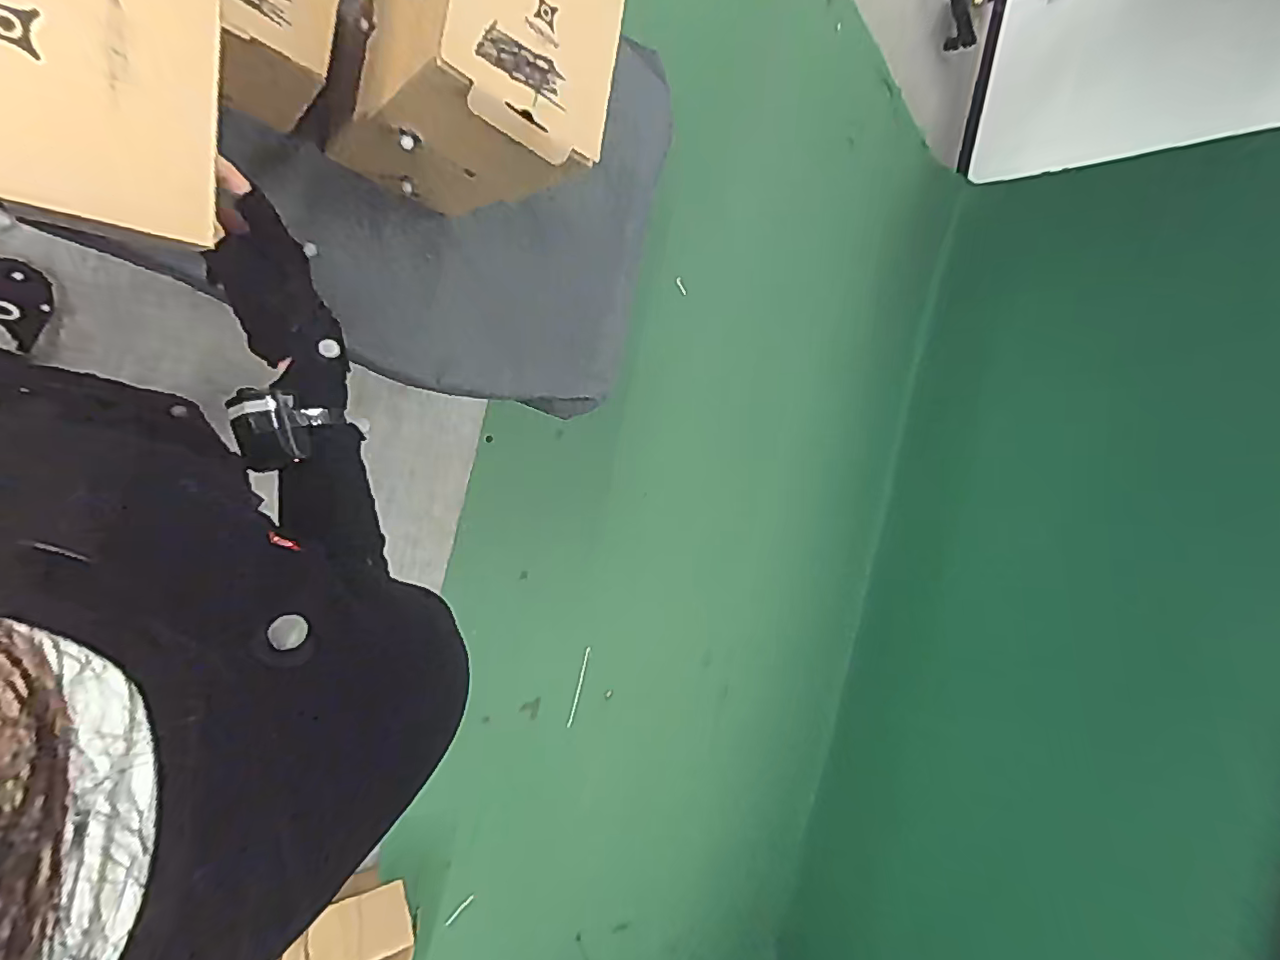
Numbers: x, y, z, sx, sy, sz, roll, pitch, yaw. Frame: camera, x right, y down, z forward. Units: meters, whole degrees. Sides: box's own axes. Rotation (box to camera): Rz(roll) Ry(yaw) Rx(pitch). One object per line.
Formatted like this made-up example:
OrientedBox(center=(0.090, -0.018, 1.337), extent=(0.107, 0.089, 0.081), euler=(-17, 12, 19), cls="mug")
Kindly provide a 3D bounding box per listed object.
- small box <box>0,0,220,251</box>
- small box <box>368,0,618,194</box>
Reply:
OrientedBox(center=(-0.373, -0.244, 0.324), extent=(0.179, 0.176, 0.168), euler=(1, 105, -44), cls="small box")
OrientedBox(center=(-0.150, -0.417, 0.536), extent=(0.168, 0.176, 0.179), euler=(10, 92, -45), cls="small box")
